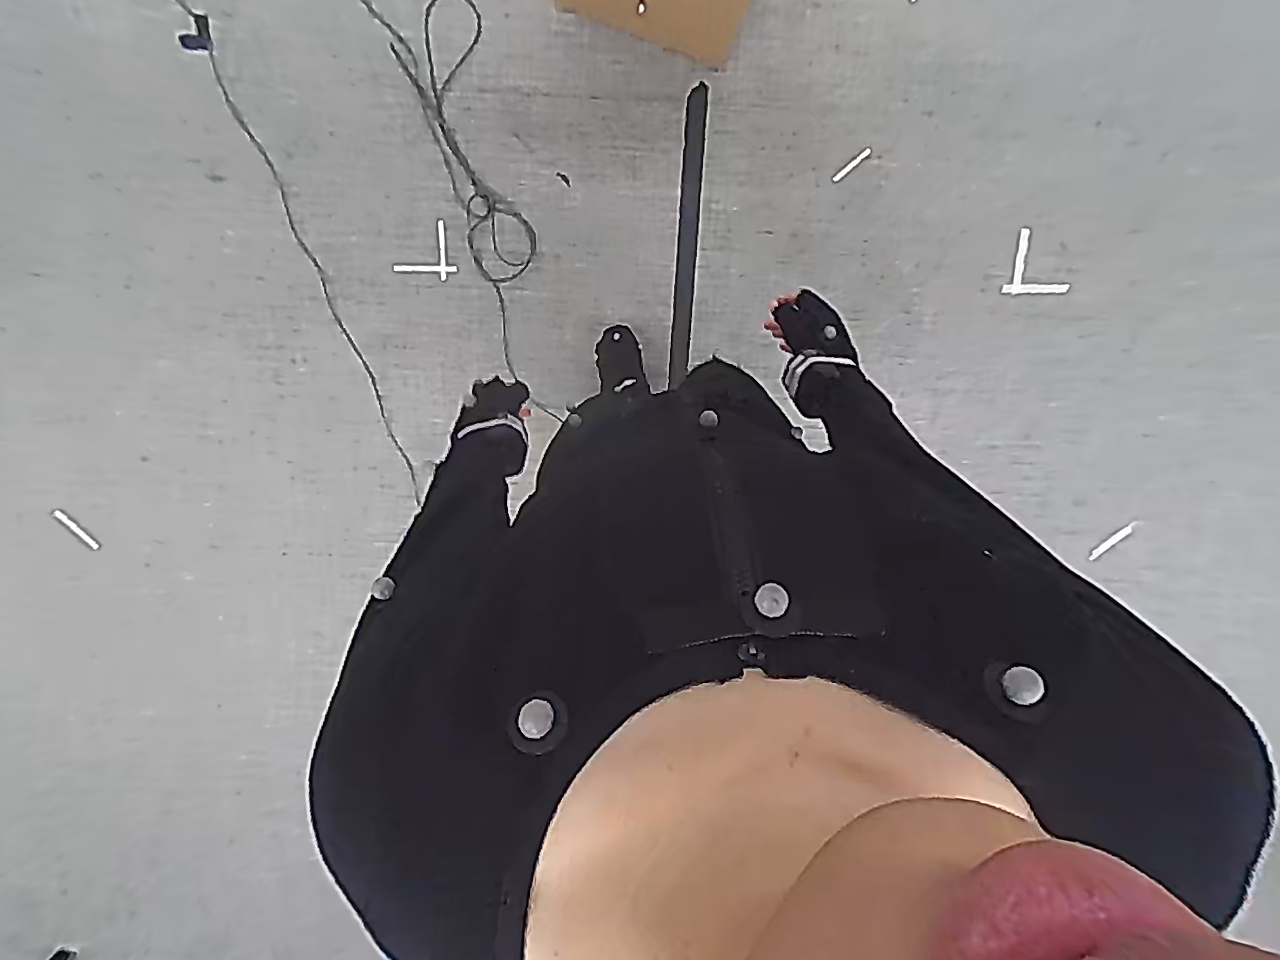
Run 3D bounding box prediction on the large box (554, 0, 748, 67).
[{"bbox_3d":[0.045,-1.113,1.069,0.408,0.320,0.320,16,103,-6],"label":"large box"}]
